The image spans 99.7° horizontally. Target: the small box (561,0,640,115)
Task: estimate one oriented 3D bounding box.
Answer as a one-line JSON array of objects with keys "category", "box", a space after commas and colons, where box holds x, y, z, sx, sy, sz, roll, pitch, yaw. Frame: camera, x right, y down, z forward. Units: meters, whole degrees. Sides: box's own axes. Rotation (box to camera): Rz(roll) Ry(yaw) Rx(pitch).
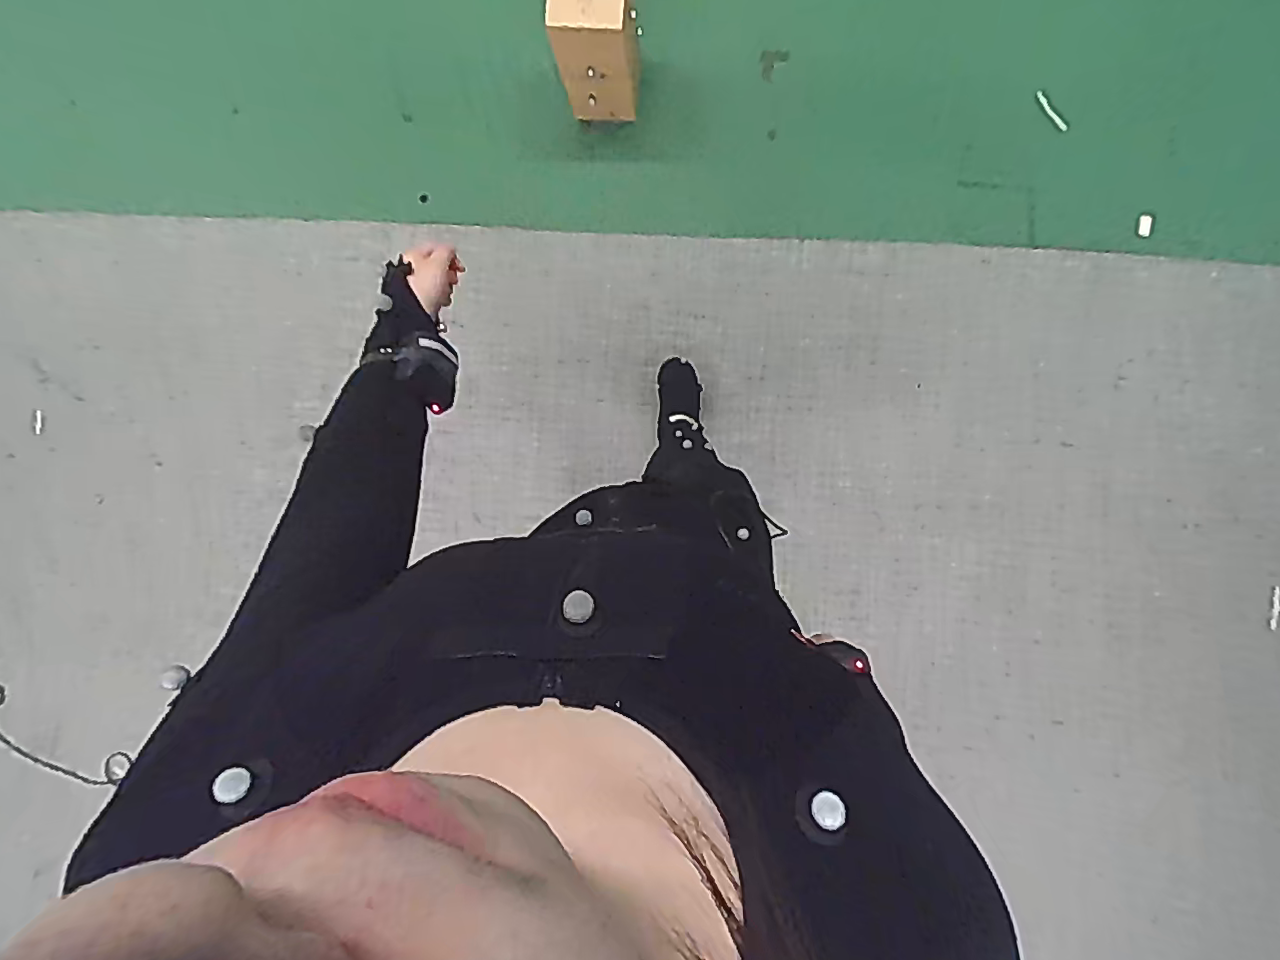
[{"category": "small box", "box": [-0.093, -1.046, 1.346, 0.168, 0.176, 0.179, 5, 93, 4]}]
